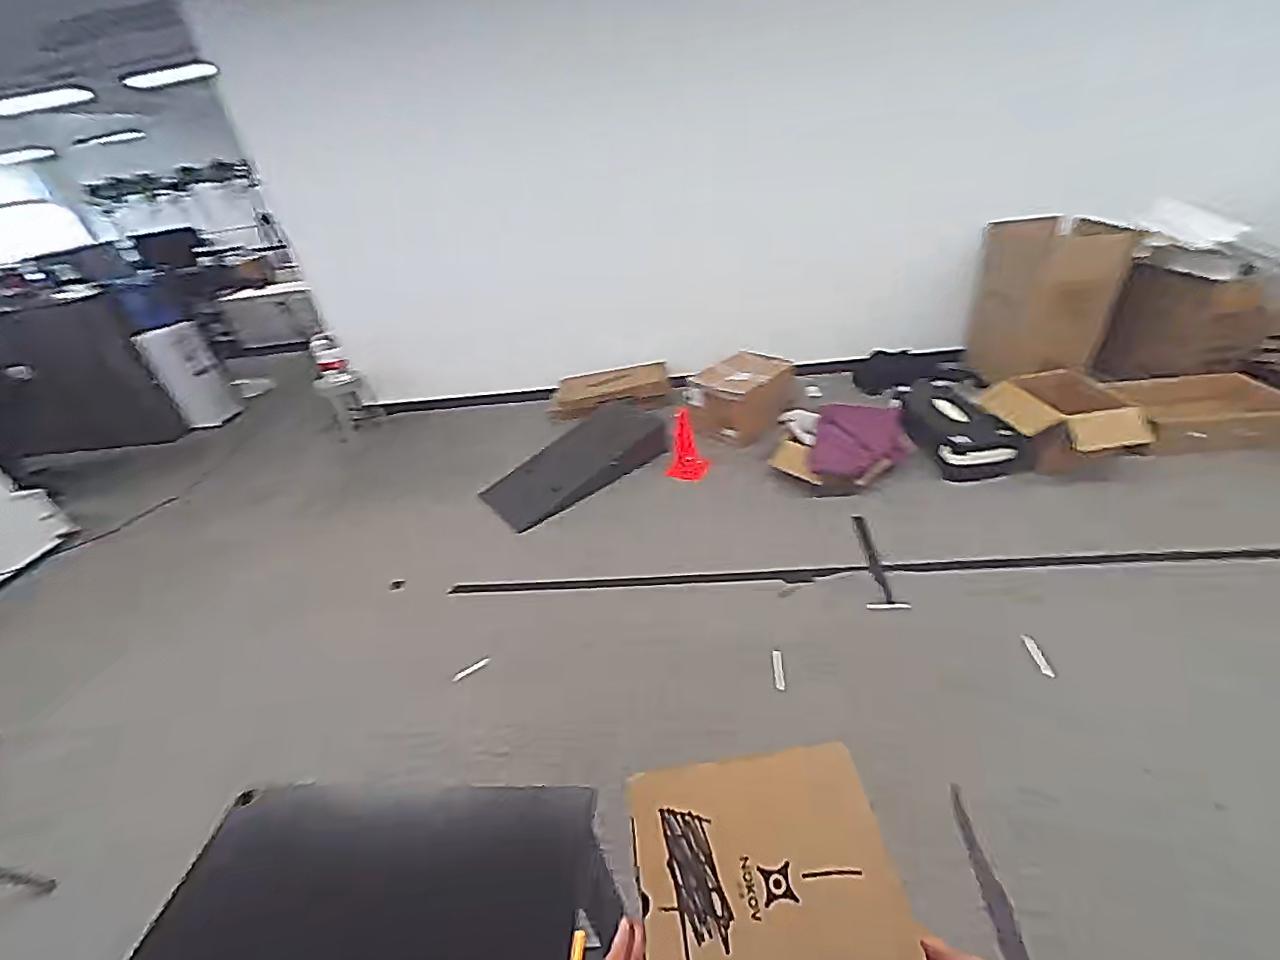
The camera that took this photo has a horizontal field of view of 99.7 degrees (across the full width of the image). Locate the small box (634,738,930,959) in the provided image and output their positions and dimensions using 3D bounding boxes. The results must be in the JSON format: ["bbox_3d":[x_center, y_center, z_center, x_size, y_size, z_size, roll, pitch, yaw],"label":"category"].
[{"bbox_3d":[0.098,0.329,0.423,0.179,0.176,0.168,-9,44,1],"label":"small box"}]
